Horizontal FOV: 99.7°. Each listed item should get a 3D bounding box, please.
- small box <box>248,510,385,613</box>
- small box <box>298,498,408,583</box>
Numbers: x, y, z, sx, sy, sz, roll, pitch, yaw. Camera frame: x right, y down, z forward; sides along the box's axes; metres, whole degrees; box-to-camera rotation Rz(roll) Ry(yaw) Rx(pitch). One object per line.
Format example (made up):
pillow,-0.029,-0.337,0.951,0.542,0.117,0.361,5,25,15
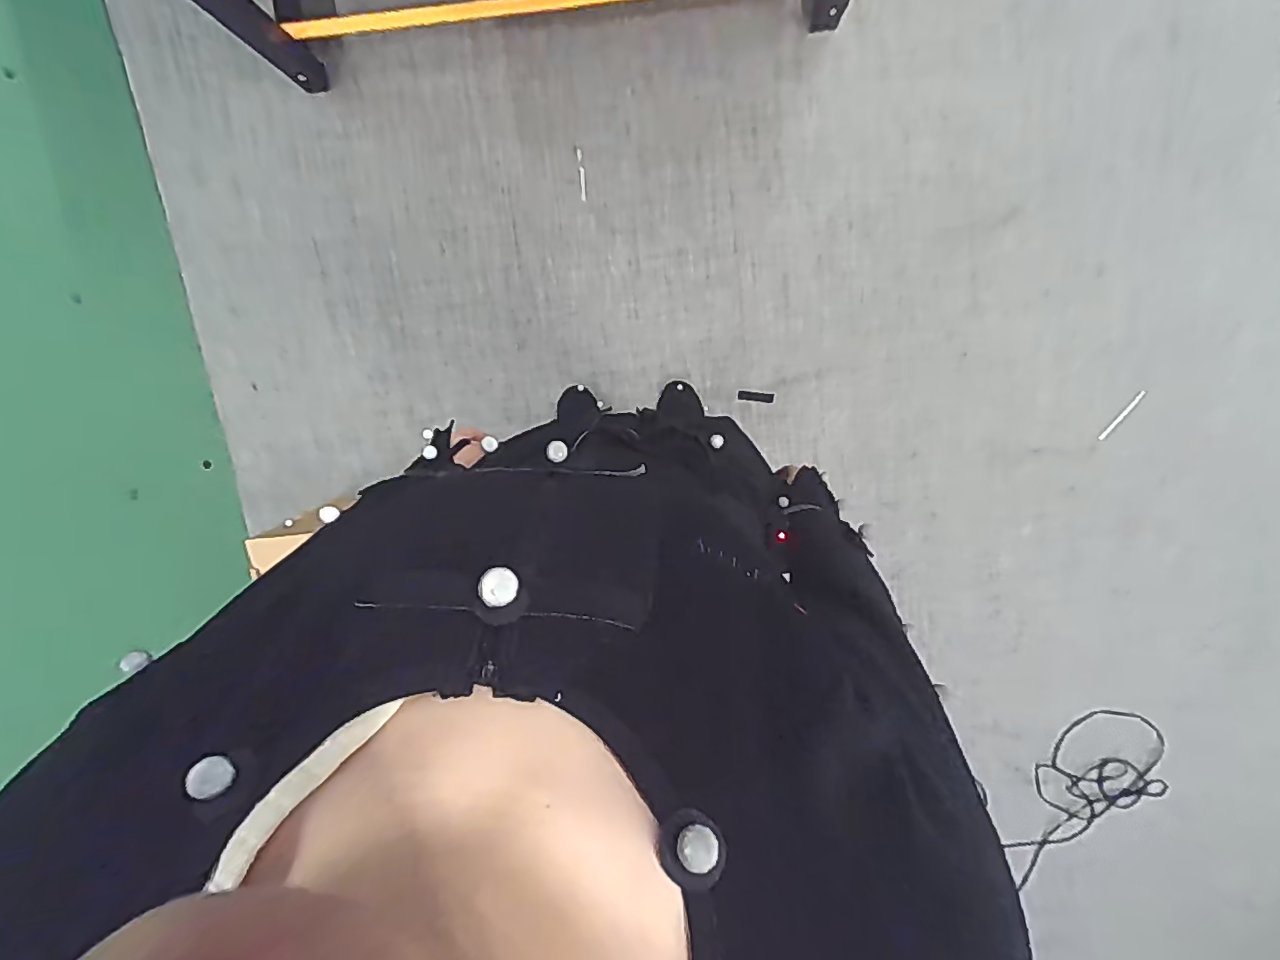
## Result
small box,-0.691,0.171,1.174,0.179,0.176,0.168,-7,102,3
small box,-0.699,0.145,1.335,0.168,0.176,0.179,-4,102,3
